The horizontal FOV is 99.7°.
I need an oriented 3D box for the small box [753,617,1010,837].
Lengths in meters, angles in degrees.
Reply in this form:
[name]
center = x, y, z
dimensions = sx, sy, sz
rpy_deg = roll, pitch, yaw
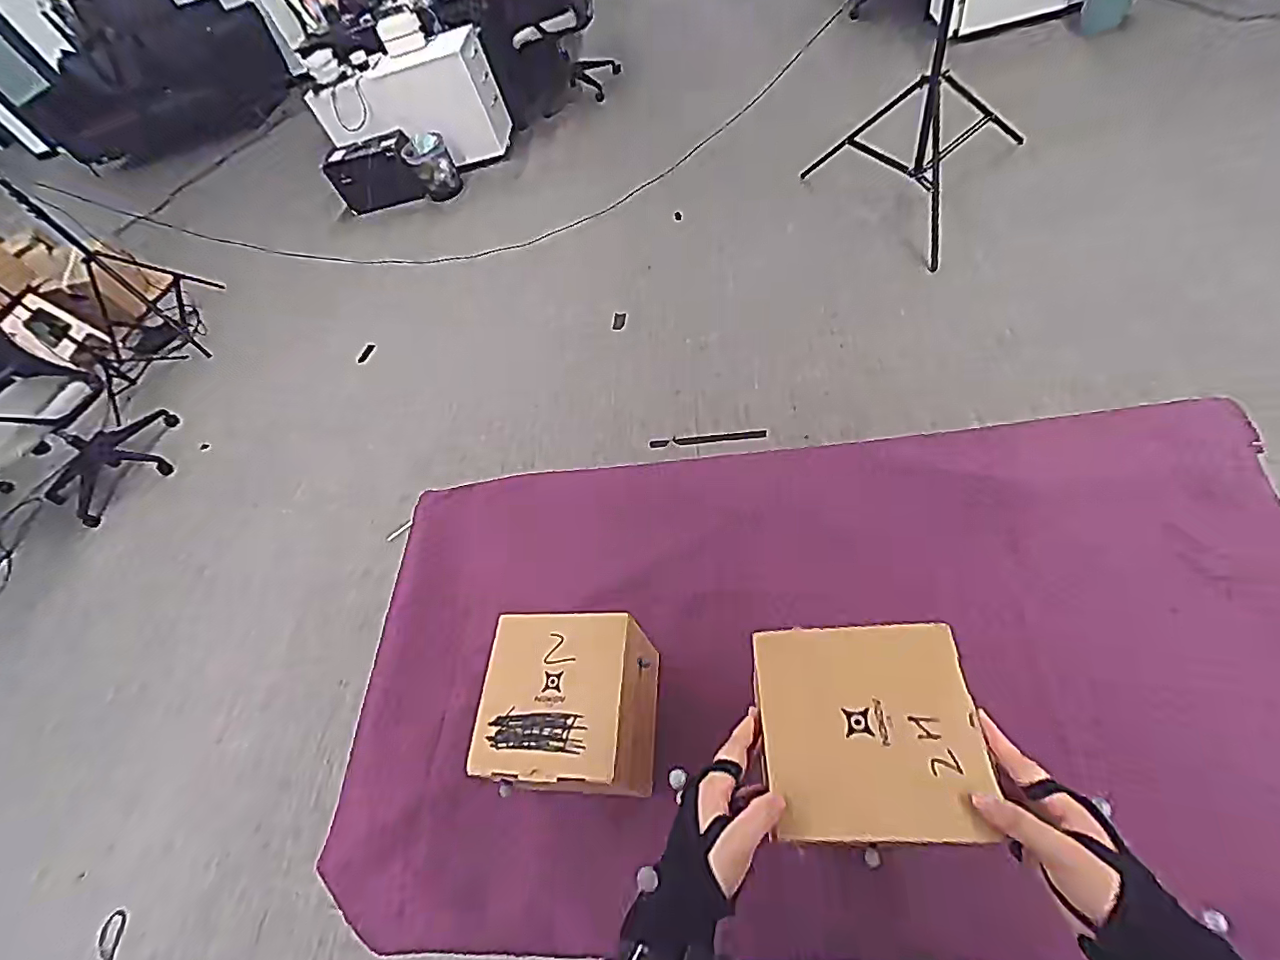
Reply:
[small box]
center = 0.205, 0.241, 0.519
dimensions = 0.179, 0.176, 0.168
rpy_deg = -5, 56, 9
